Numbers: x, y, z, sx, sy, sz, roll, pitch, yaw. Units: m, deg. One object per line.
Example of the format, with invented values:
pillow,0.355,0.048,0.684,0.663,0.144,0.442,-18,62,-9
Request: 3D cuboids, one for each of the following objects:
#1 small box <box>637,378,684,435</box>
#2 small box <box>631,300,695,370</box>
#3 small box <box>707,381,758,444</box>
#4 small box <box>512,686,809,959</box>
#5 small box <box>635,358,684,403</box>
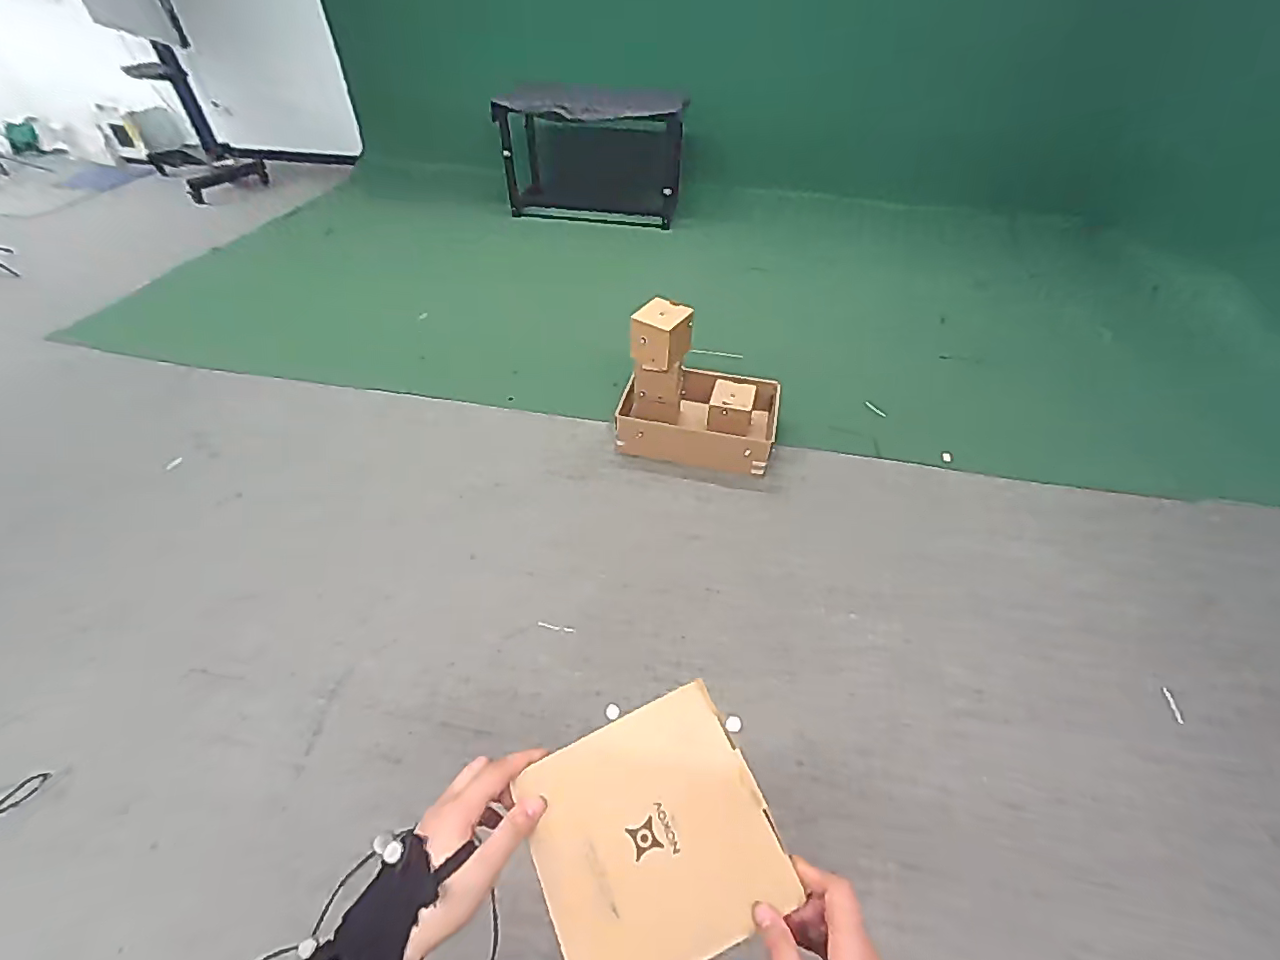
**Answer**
small box,0.083,-0.312,2.226,0.168,0.176,0.179,8,46,7
small box,0.084,-0.529,1.981,0.168,0.176,0.179,27,50,22
small box,0.372,-0.276,2.201,0.168,0.176,0.179,13,47,12
small box,0.017,0.299,0.474,0.179,0.176,0.168,-26,65,-5
small box,0.079,-0.421,2.103,0.168,0.176,0.179,10,46,7
